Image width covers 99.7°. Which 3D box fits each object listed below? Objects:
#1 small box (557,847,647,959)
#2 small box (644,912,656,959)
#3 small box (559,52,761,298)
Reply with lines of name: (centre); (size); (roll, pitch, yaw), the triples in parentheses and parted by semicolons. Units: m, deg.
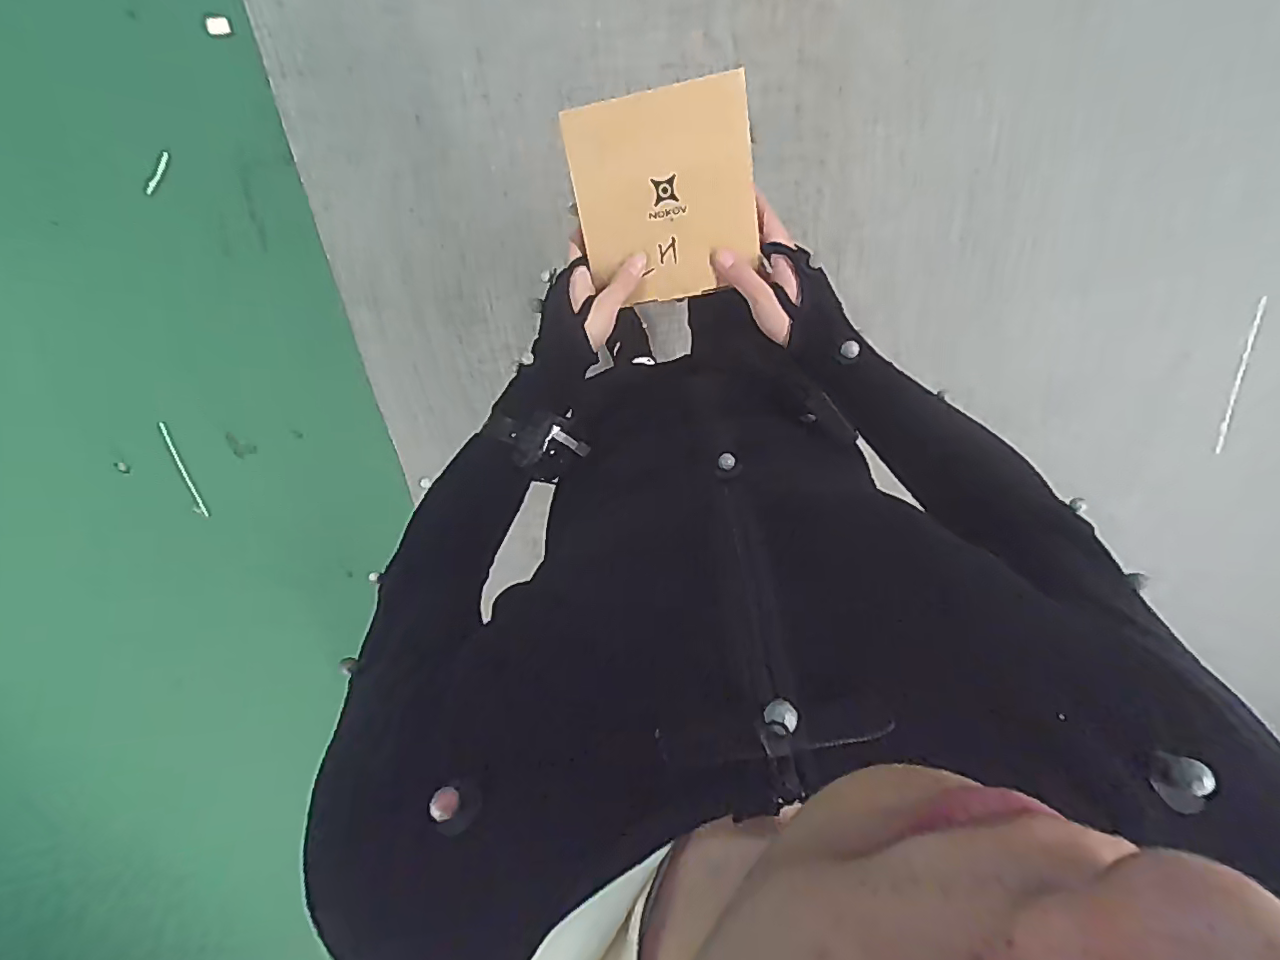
small box: (-0.083, 0.964, 1.222); (0.179, 0.176, 0.168); (-7, 115, 1)
small box: (-0.049, 1.191, 1.325); (0.168, 0.176, 0.179); (-8, 114, 3)
small box: (0.026, -0.297, 0.558); (0.168, 0.176, 0.179); (-7, 115, 8)
